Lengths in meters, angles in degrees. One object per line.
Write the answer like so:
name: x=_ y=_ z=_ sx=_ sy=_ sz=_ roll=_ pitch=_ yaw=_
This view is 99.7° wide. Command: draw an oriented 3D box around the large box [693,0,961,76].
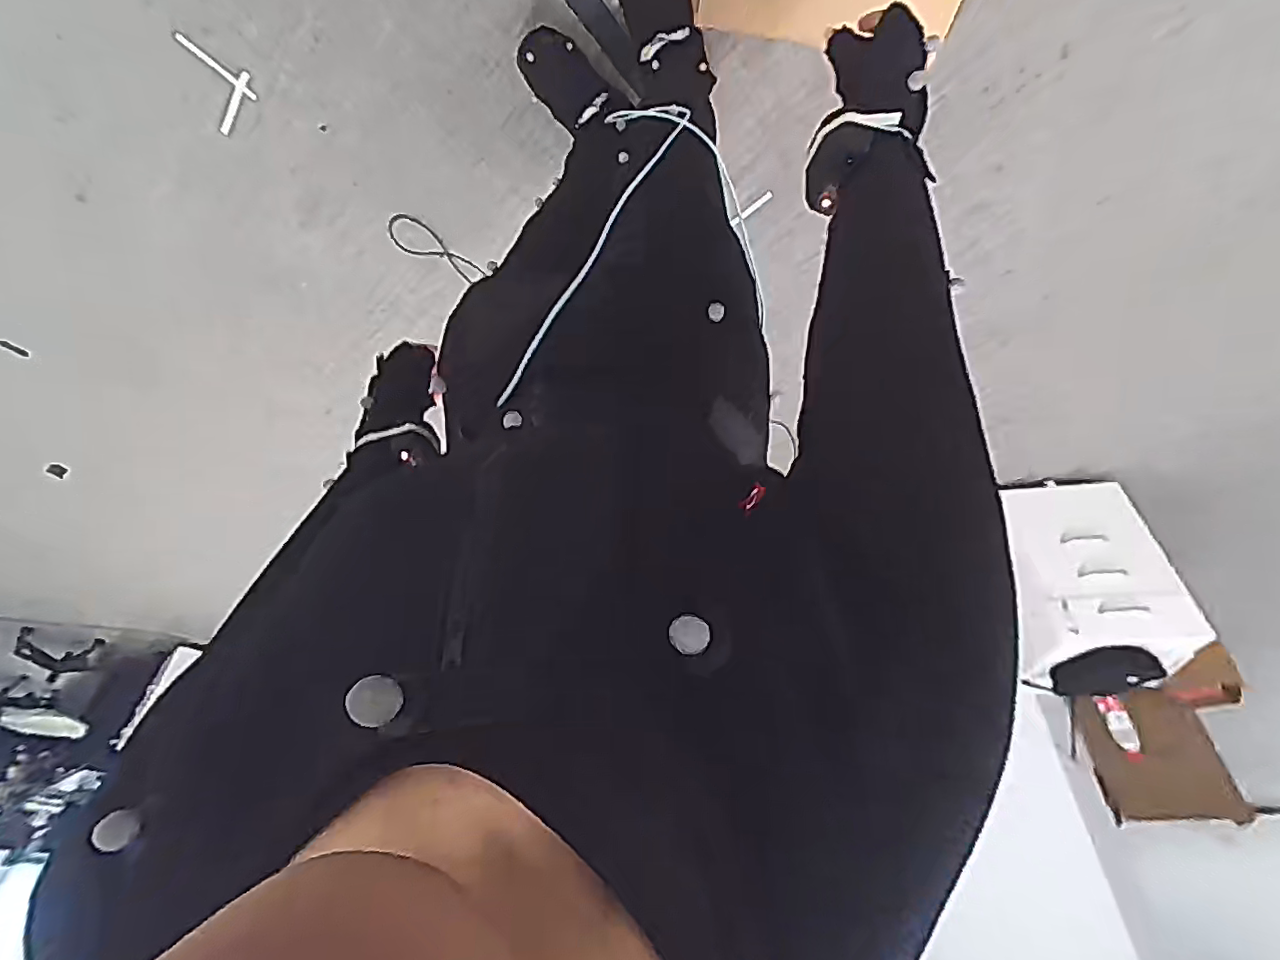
large box: x=0.248 y=-0.777 z=0.693 sx=0.320 sy=0.408 sz=0.320 roll=7 pitch=141 yaw=-5
